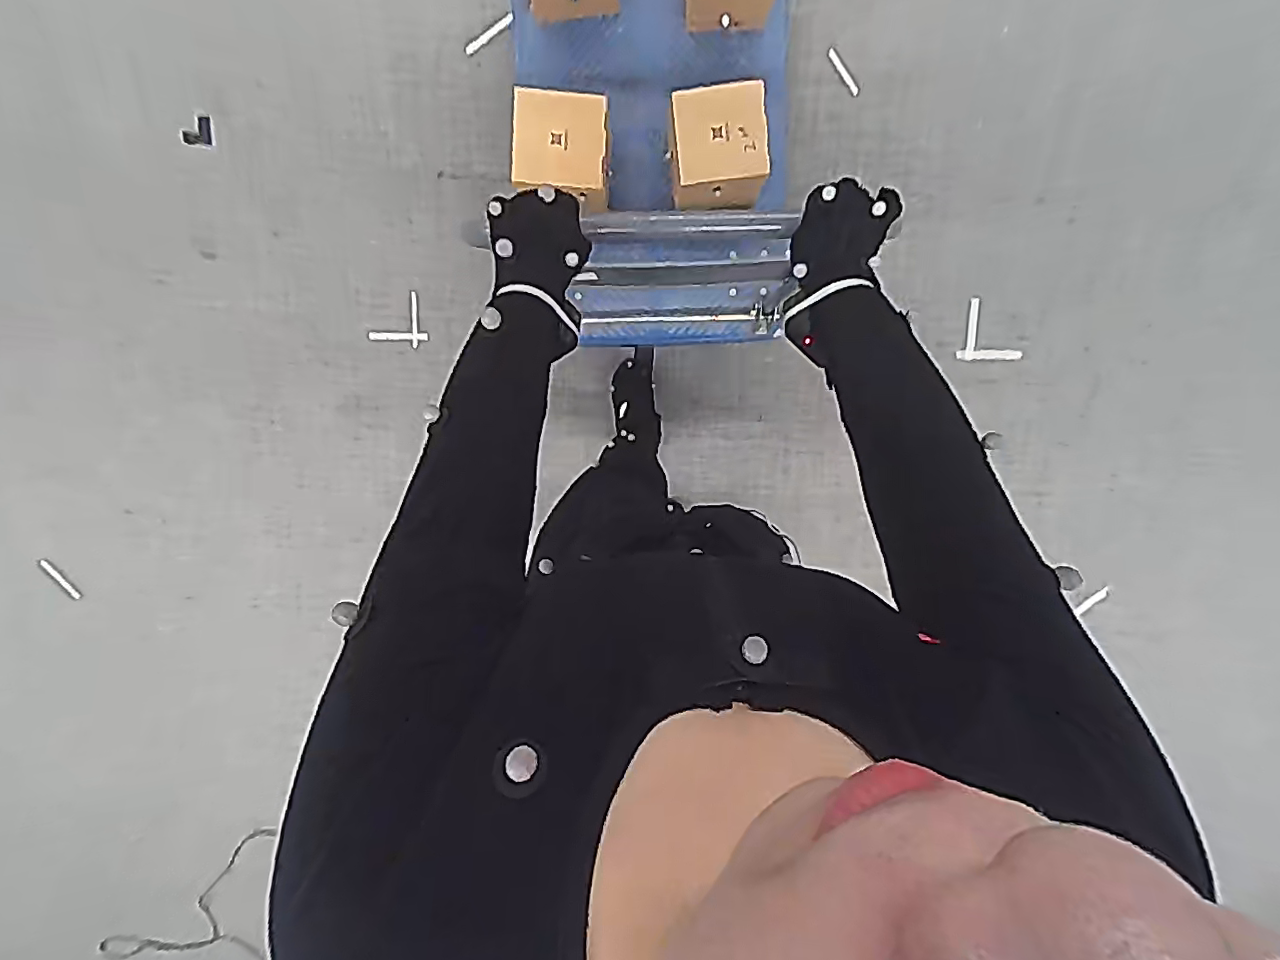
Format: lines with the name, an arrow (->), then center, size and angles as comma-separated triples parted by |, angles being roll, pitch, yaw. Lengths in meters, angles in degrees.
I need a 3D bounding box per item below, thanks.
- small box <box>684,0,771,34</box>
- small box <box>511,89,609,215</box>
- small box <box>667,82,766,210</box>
small box -> 0.173, -1.017, 1.049 | 0.168, 0.176, 0.179 | -2, 101, 0
small box -> -0.157, -0.660, 1.107 | 0.179, 0.176, 0.168 | 4, 99, -3
small box -> 0.150, -0.670, 1.107 | 0.179, 0.176, 0.168 | -7, 100, 1
